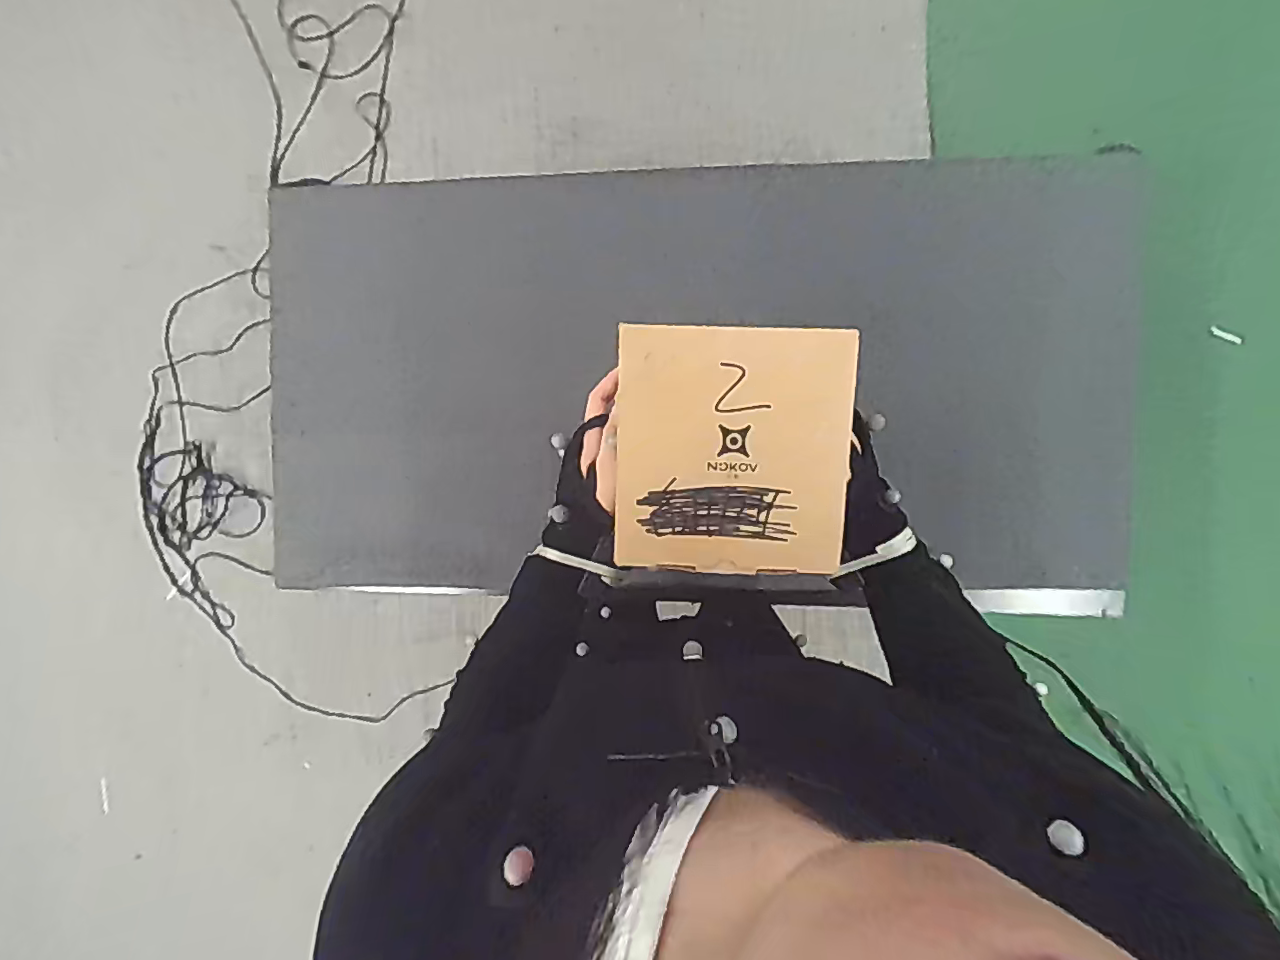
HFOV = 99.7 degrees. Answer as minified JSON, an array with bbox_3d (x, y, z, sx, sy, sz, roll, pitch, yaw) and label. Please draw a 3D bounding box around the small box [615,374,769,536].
[{"bbox_3d":[0.064,-0.029,0.674,0.168,0.176,0.179,2,91,6],"label":"small box"}]
